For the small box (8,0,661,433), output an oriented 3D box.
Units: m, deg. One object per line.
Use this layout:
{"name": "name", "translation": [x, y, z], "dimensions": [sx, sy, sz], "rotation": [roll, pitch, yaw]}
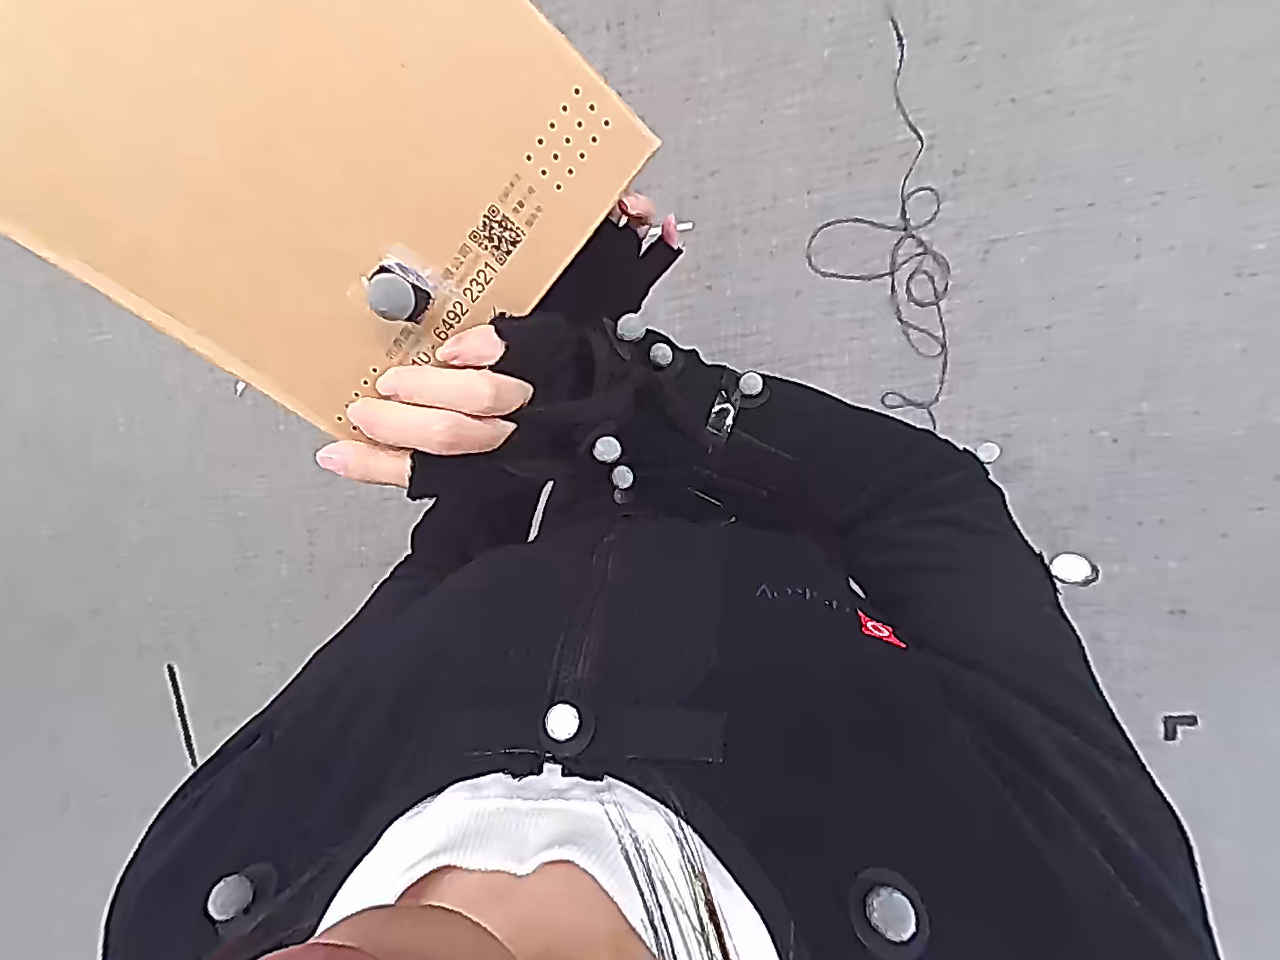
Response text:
{"name": "small box", "translation": [-0.111, -0.150, 0.269], "dimensions": [0.176, 0.179, 0.168], "rotation": [37, 106, -22]}
